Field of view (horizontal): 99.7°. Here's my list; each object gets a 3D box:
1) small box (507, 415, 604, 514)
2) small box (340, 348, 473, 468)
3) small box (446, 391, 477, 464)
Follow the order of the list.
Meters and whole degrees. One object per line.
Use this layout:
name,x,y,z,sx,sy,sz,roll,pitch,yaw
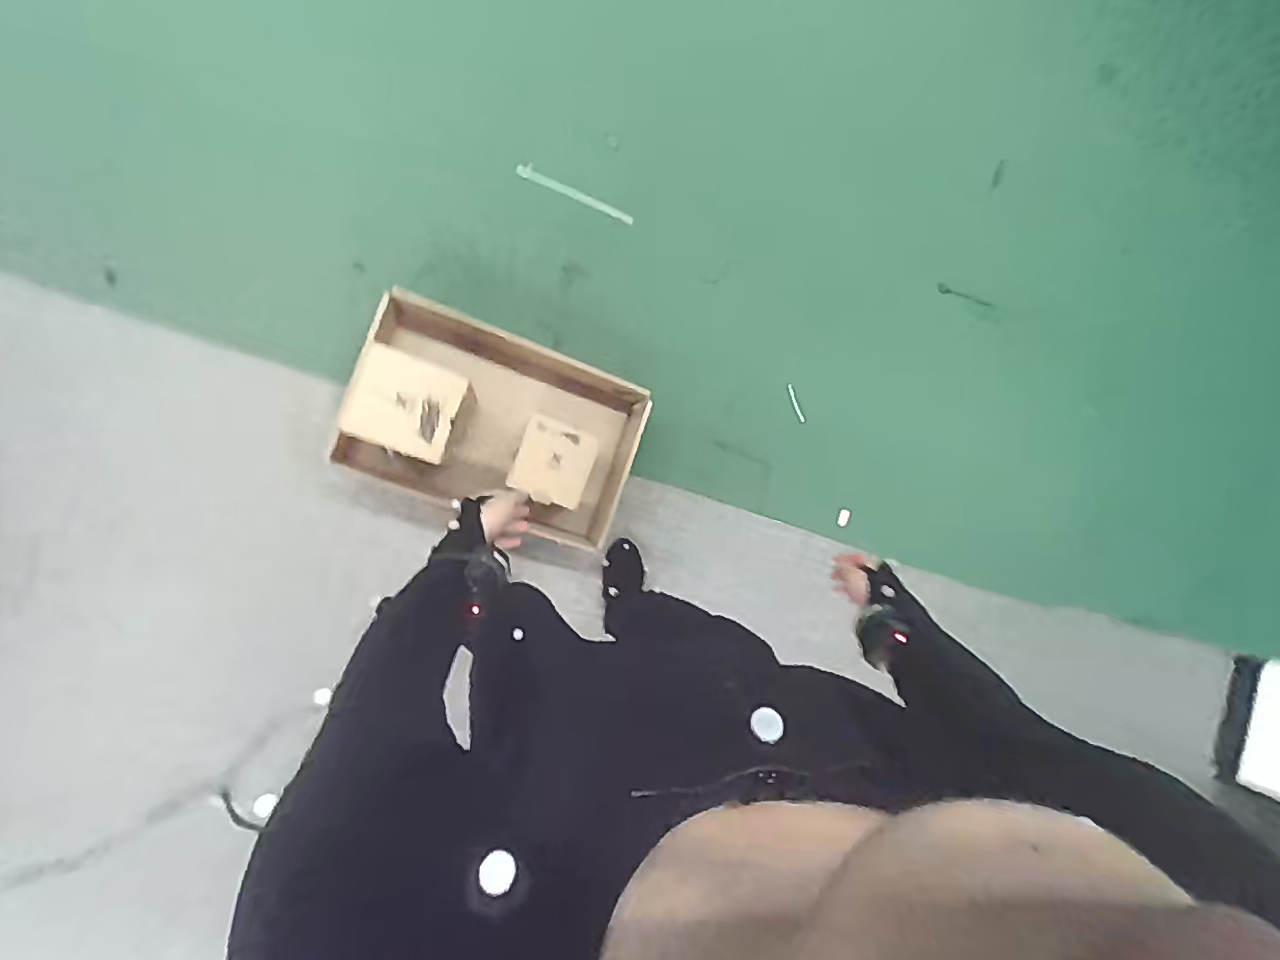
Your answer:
small box,-0.200,-0.036,1.256,0.168,0.176,0.179,21,87,-13
small box,-0.426,-0.129,1.023,0.179,0.176,0.168,20,86,-14
small box,-0.467,-0.137,1.182,0.179,0.176,0.168,19,87,-15
